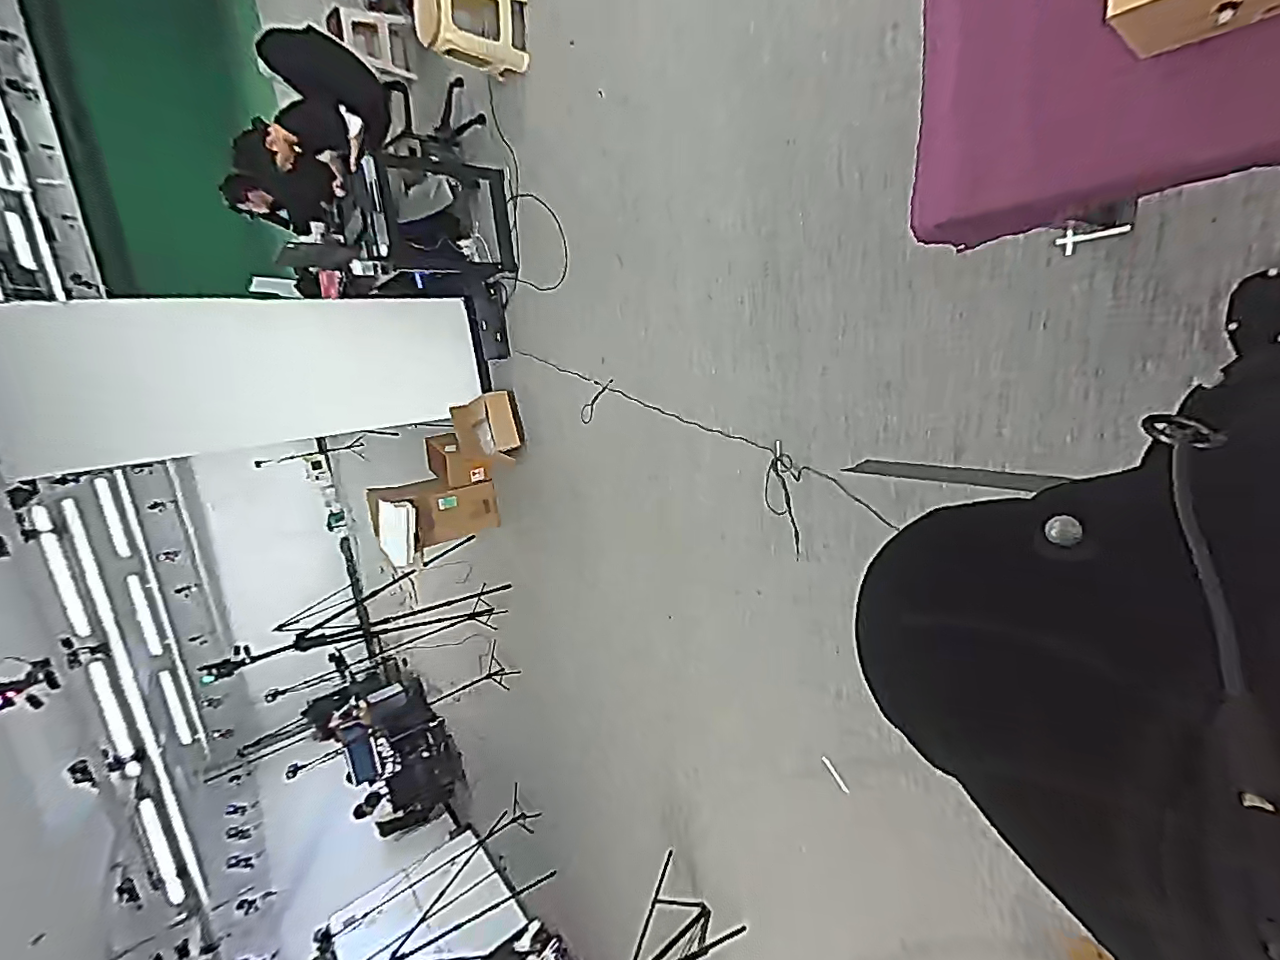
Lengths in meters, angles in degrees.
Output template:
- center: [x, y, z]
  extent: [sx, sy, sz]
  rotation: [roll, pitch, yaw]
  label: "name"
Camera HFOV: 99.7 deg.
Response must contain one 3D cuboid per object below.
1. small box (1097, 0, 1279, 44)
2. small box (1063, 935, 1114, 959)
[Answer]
- center: [0.558, -0.542, 0.498]
  extent: [0.168, 0.176, 0.179]
  rotation: [13, 113, 49]
  label: "small box"
- center: [1.291, 1.459, 1.526]
  extent: [0.168, 0.176, 0.179]
  rotation: [15, 115, 50]
  label: "small box"
